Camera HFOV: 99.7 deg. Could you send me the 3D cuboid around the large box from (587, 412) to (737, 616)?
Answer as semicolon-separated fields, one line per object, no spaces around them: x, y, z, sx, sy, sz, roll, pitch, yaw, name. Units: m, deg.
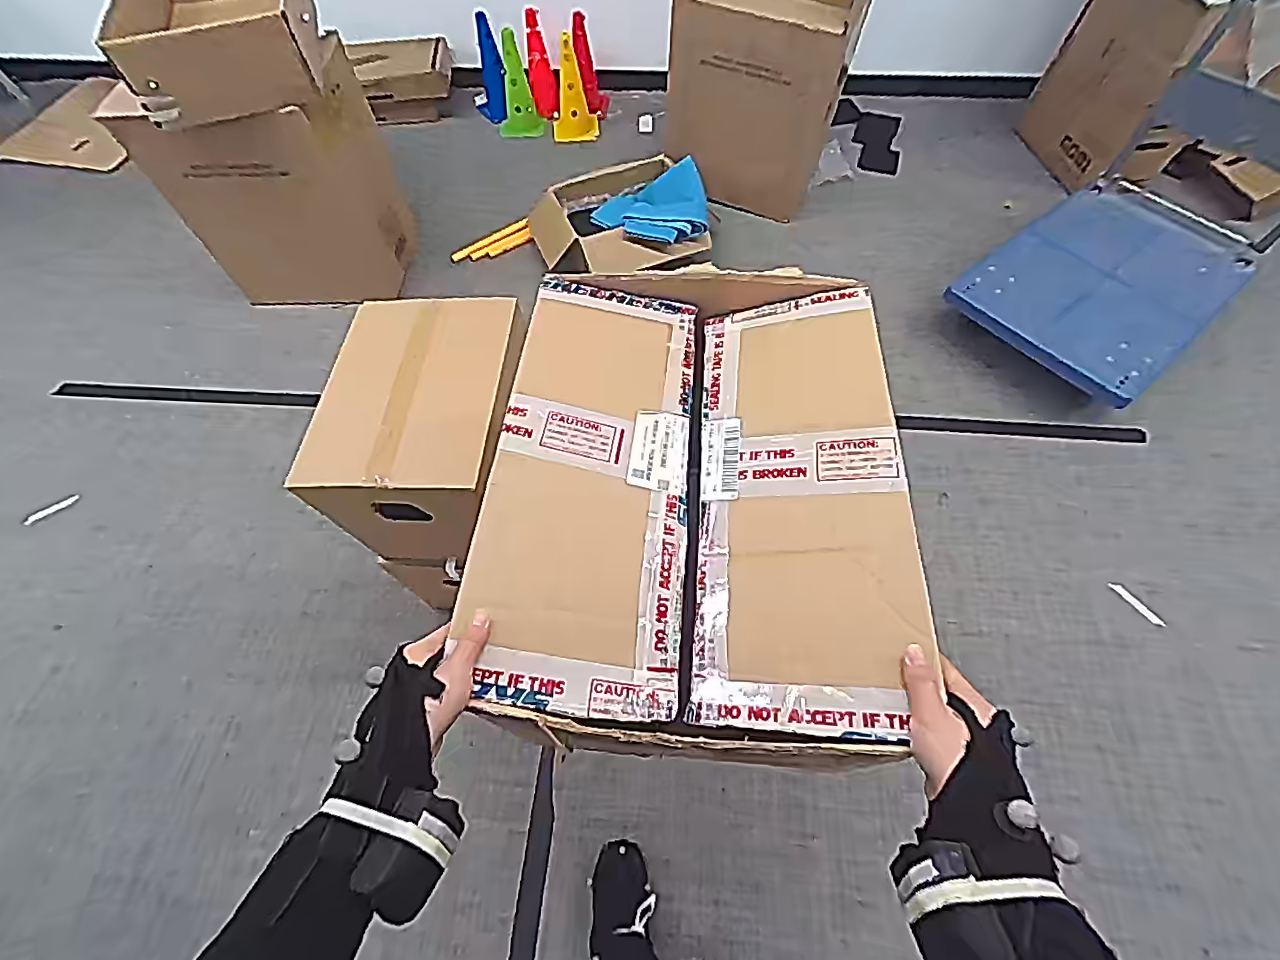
0.051;0.088;1.316;0.320;0.320;0.408;2;61;3;large box
